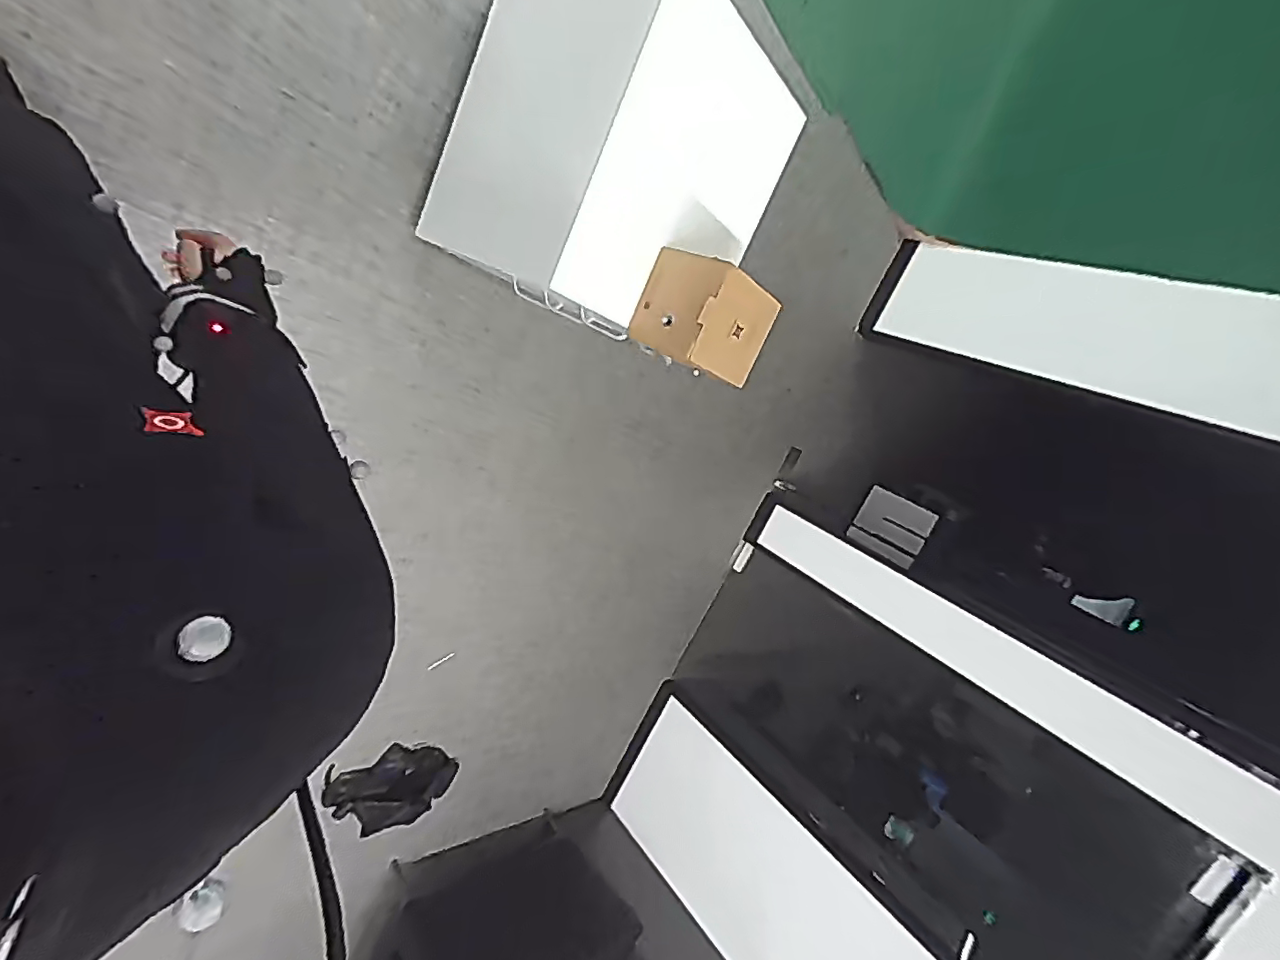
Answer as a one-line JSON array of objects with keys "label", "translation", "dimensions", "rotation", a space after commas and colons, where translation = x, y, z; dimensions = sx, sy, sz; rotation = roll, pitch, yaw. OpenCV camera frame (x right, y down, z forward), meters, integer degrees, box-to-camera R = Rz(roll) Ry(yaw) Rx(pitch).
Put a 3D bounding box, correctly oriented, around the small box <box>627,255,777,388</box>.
[{"label": "small box", "translation": [0.108, -0.288, 0.977], "dimensions": [0.179, 0.176, 0.168], "rotation": [13, 107, -49]}]
